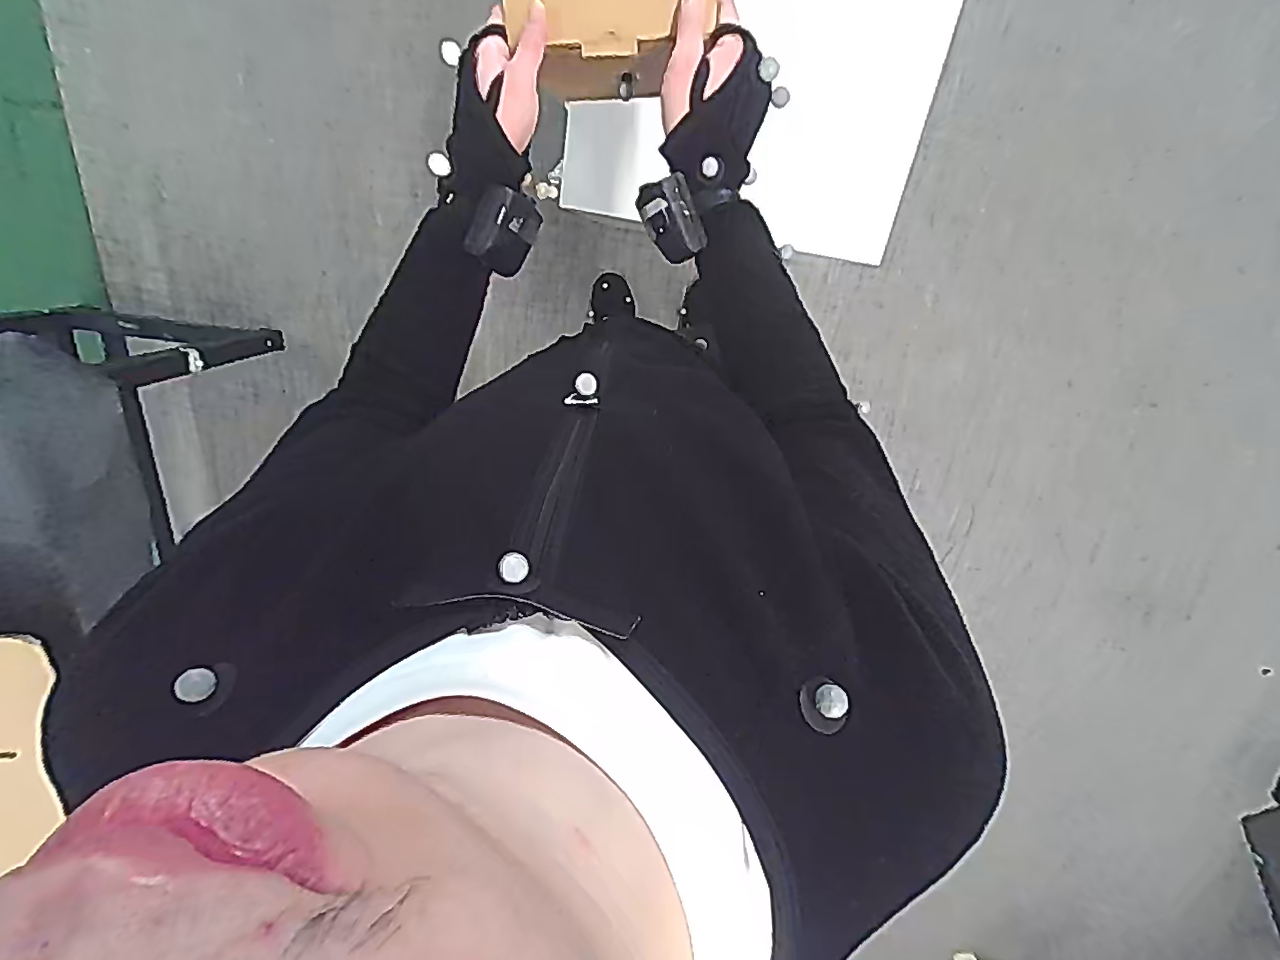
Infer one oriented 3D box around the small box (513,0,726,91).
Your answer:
[{"bbox_3d":[-0.010,-0.454,0.459,0.168,0.176,0.179,0,113,8],"label":"small box"}]
